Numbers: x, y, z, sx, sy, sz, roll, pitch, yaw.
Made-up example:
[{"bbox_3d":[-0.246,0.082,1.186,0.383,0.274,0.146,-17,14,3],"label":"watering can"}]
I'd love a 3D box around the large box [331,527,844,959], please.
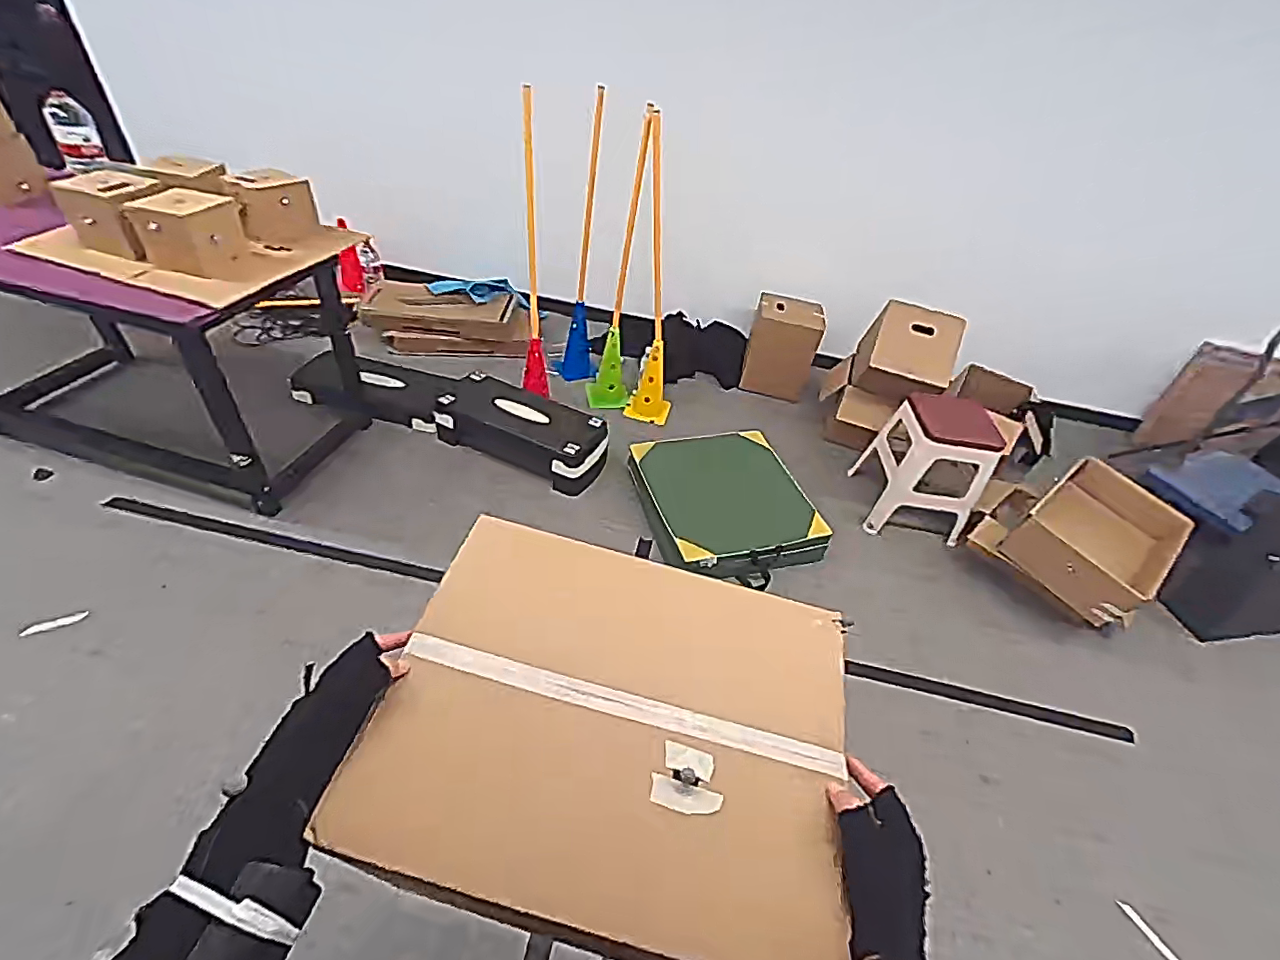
[{"bbox_3d":[-0.034,0.305,0.606,0.408,0.320,0.320,16,49,3],"label":"large box"}]
